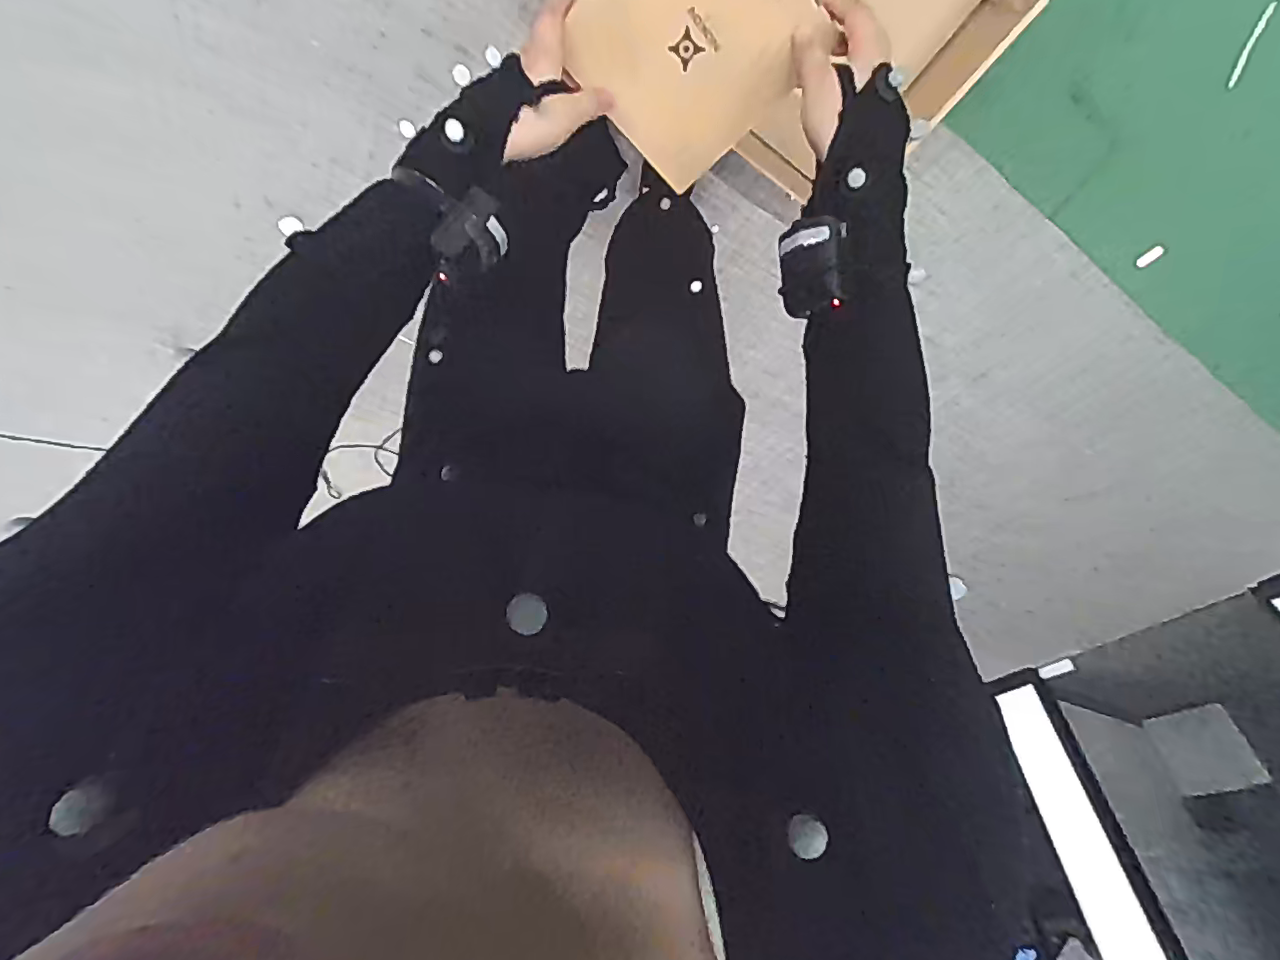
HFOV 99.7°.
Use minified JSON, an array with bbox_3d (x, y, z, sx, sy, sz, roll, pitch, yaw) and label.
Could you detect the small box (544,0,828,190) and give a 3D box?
[{"bbox_3d":[0.043,-0.417,0.485,0.168,0.176,0.179,33,136,-32],"label":"small box"}]
